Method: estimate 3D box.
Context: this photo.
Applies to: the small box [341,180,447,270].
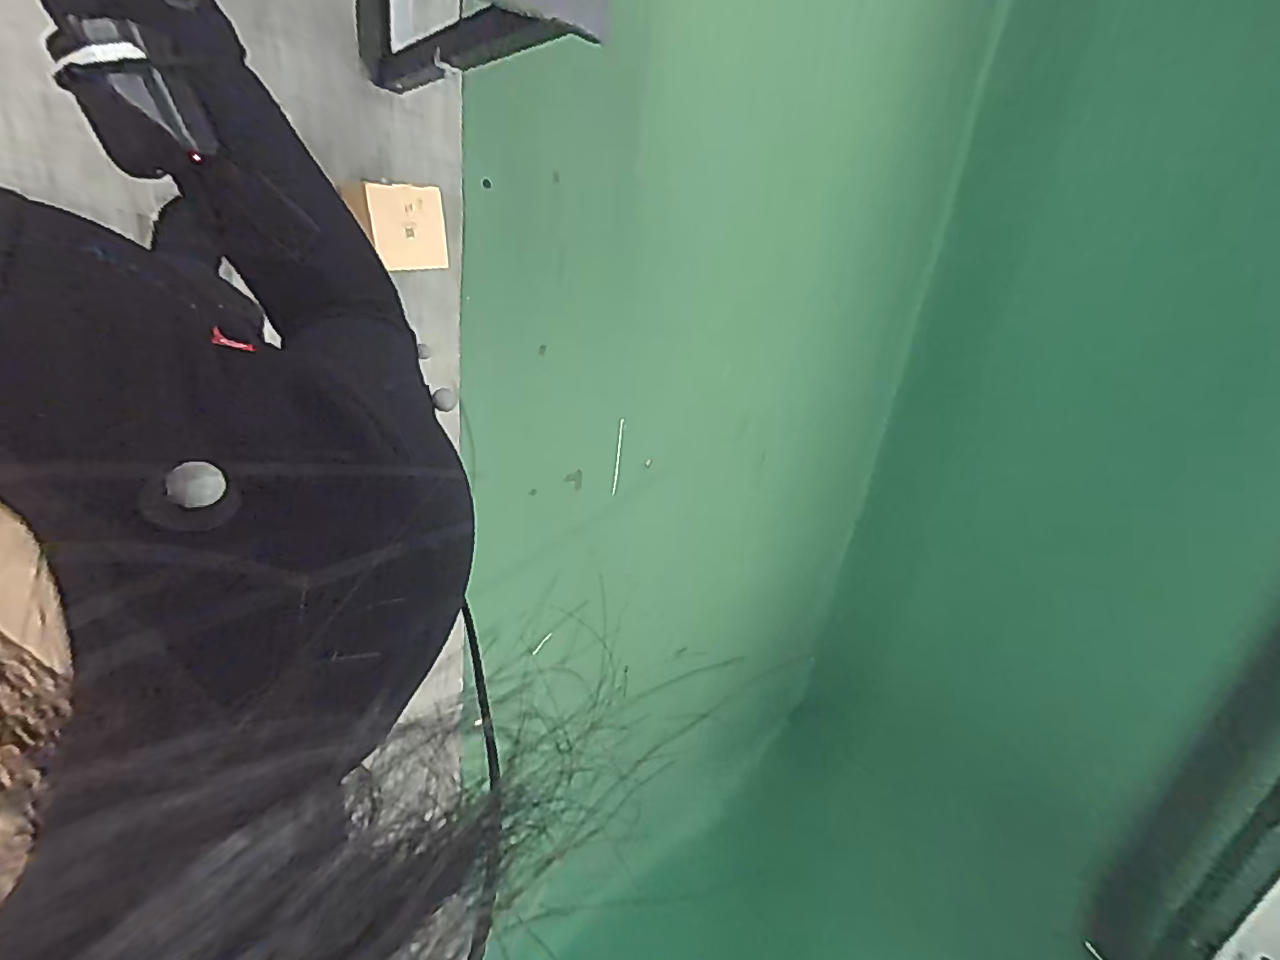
[{"bbox_3d":[-0.569,-0.592,1.255,0.168,0.176,0.179,-21,124,-38],"label":"small box"}]
